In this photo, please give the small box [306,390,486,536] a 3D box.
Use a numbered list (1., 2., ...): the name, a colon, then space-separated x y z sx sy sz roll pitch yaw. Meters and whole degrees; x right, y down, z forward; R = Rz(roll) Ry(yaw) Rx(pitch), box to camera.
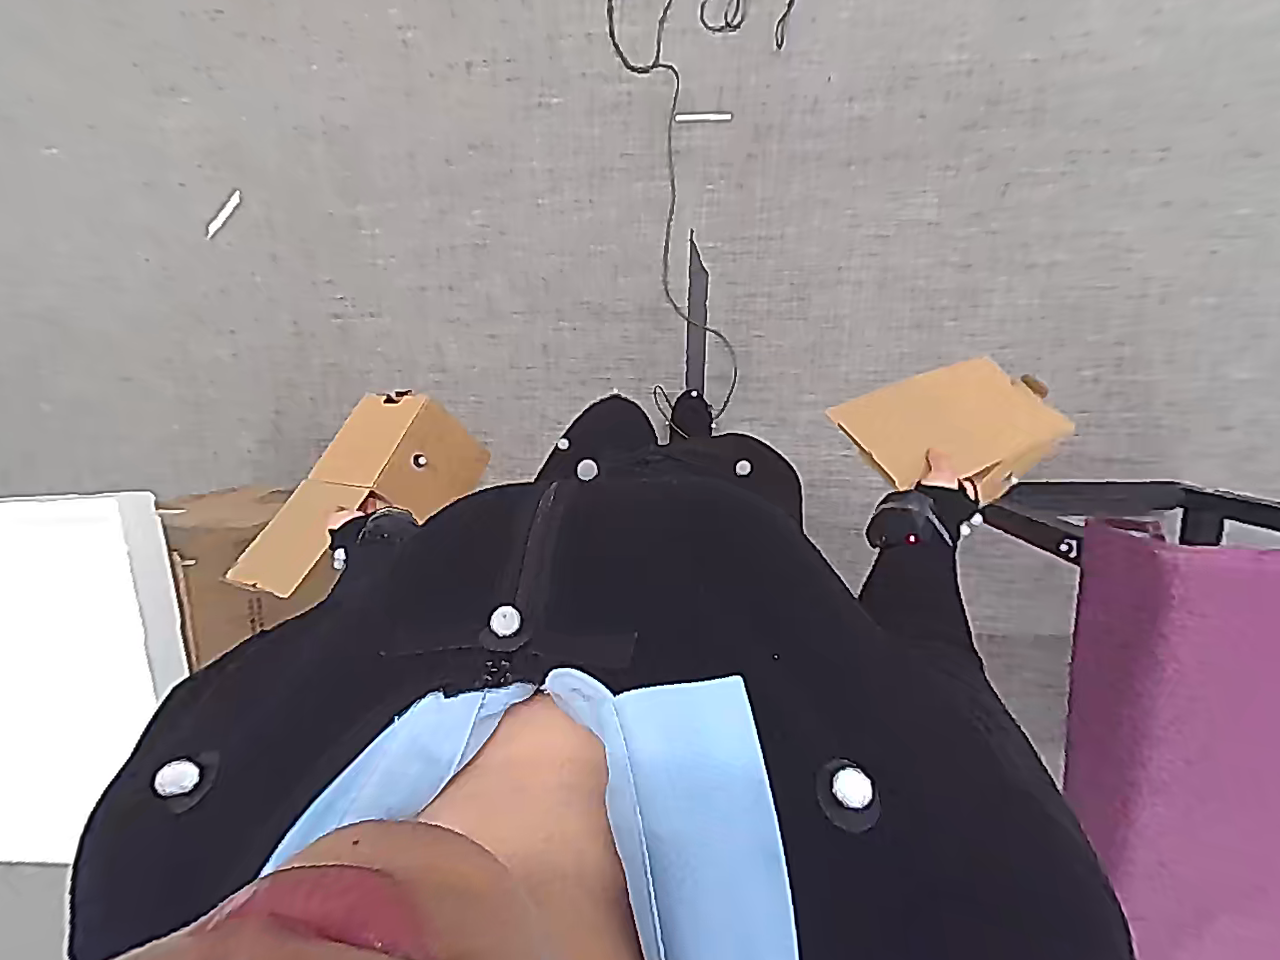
1. small box: -0.385 -0.027 0.884 0.168 0.176 0.179 7 61 29
